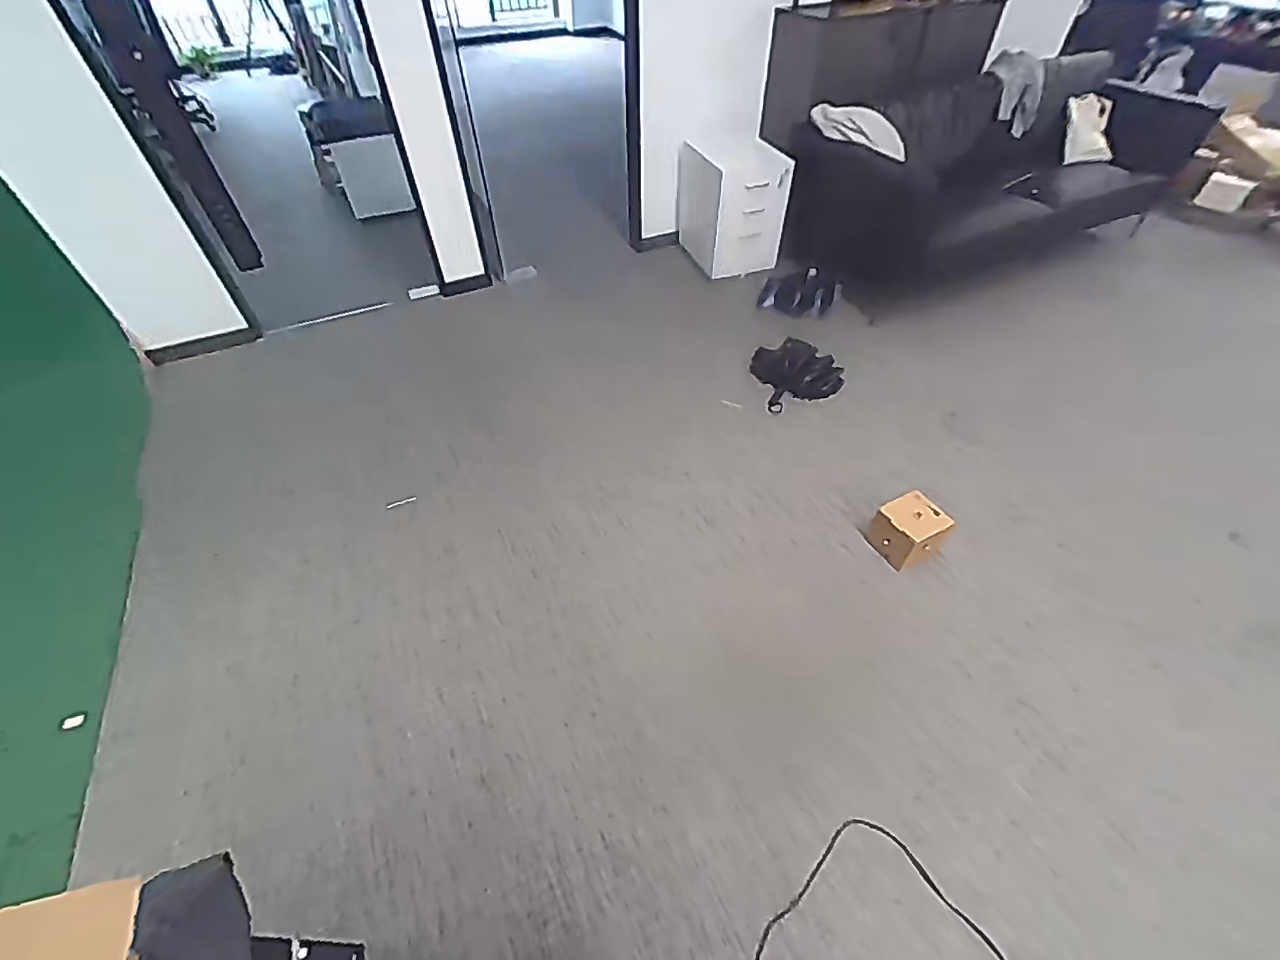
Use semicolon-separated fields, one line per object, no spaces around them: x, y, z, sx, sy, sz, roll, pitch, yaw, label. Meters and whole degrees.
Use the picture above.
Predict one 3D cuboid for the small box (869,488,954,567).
0.889;0.162;1.797;0.179;0.176;0.168;-23;52;-17;small box
